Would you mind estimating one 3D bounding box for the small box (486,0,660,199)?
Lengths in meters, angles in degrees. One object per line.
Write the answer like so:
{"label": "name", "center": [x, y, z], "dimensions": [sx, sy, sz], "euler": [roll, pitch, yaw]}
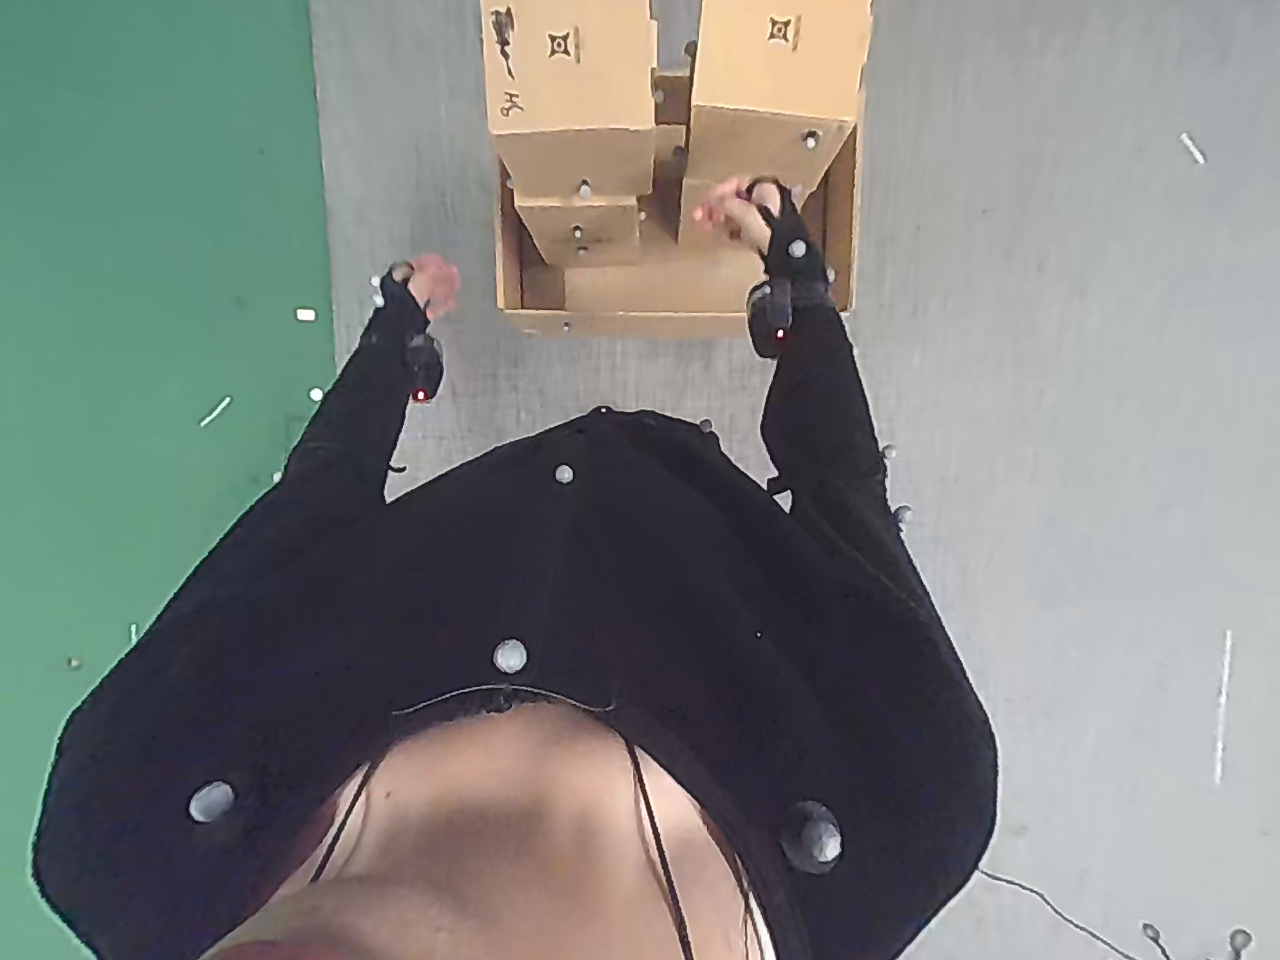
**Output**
{"label": "small box", "center": [-0.070, -0.446, 0.631], "dimensions": [0.179, 0.176, 0.168], "euler": [-2, 97, 0]}
